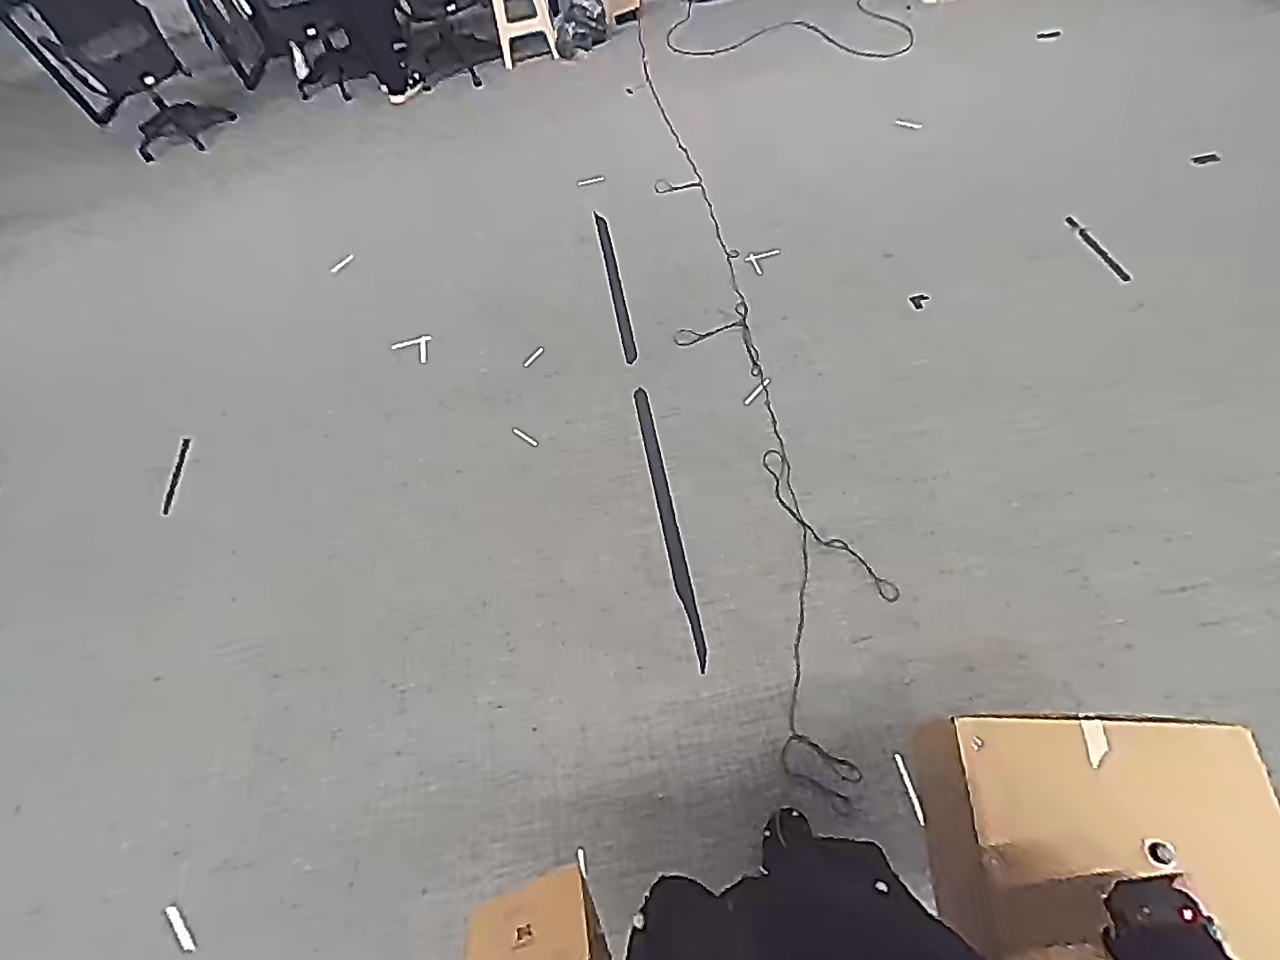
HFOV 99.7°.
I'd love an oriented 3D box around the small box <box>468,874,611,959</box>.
[{"bbox_3d":[-0.121,0.684,0.707,0.168,0.179,0.176,-18,91,-10],"label":"small box"}]
